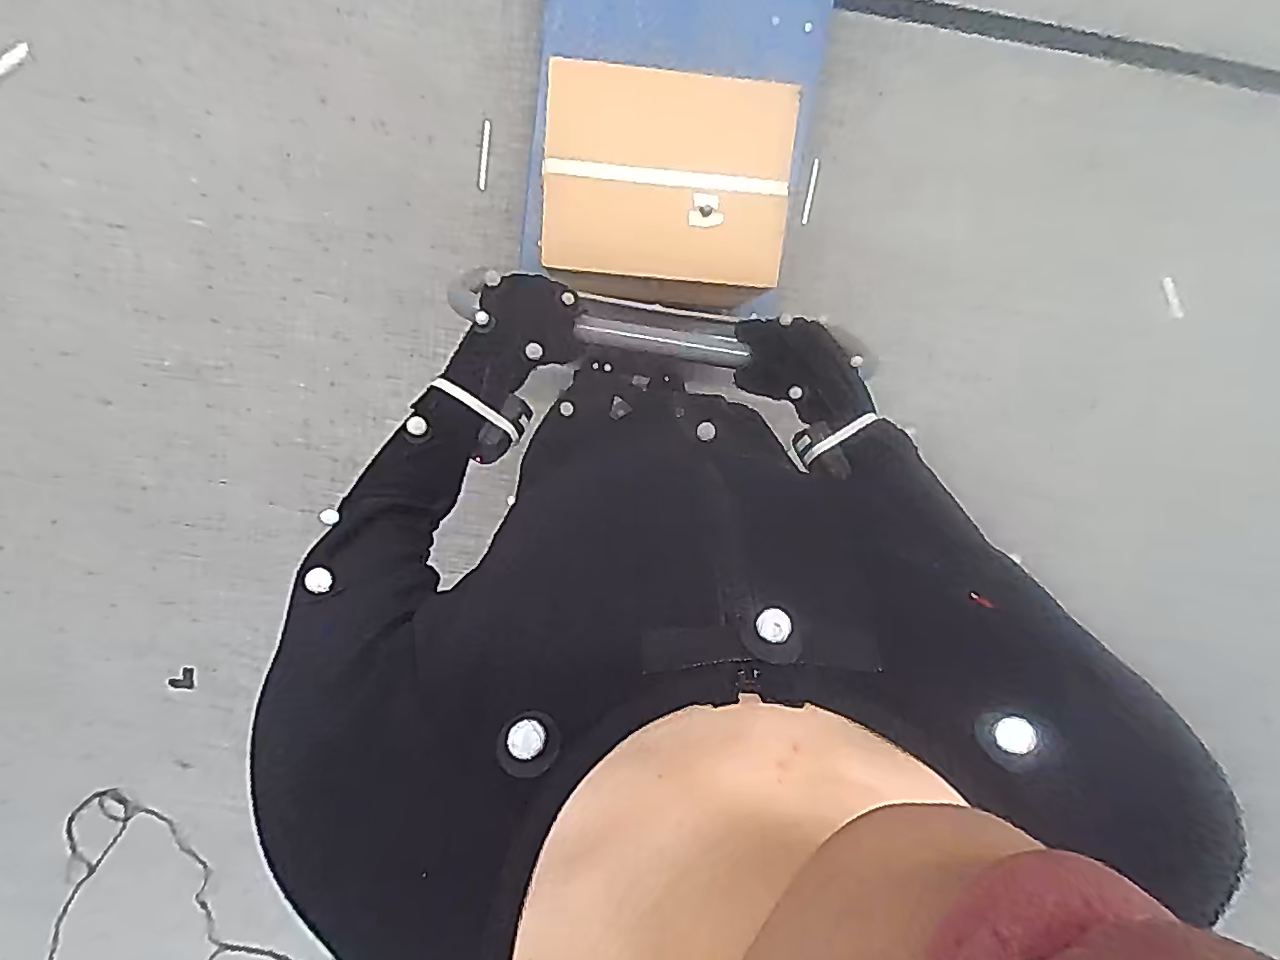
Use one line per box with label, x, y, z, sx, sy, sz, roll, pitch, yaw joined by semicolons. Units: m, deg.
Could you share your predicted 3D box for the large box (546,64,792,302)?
large box;0.034;-0.535;1.049;0.408;0.320;0.320;3;102;-4
